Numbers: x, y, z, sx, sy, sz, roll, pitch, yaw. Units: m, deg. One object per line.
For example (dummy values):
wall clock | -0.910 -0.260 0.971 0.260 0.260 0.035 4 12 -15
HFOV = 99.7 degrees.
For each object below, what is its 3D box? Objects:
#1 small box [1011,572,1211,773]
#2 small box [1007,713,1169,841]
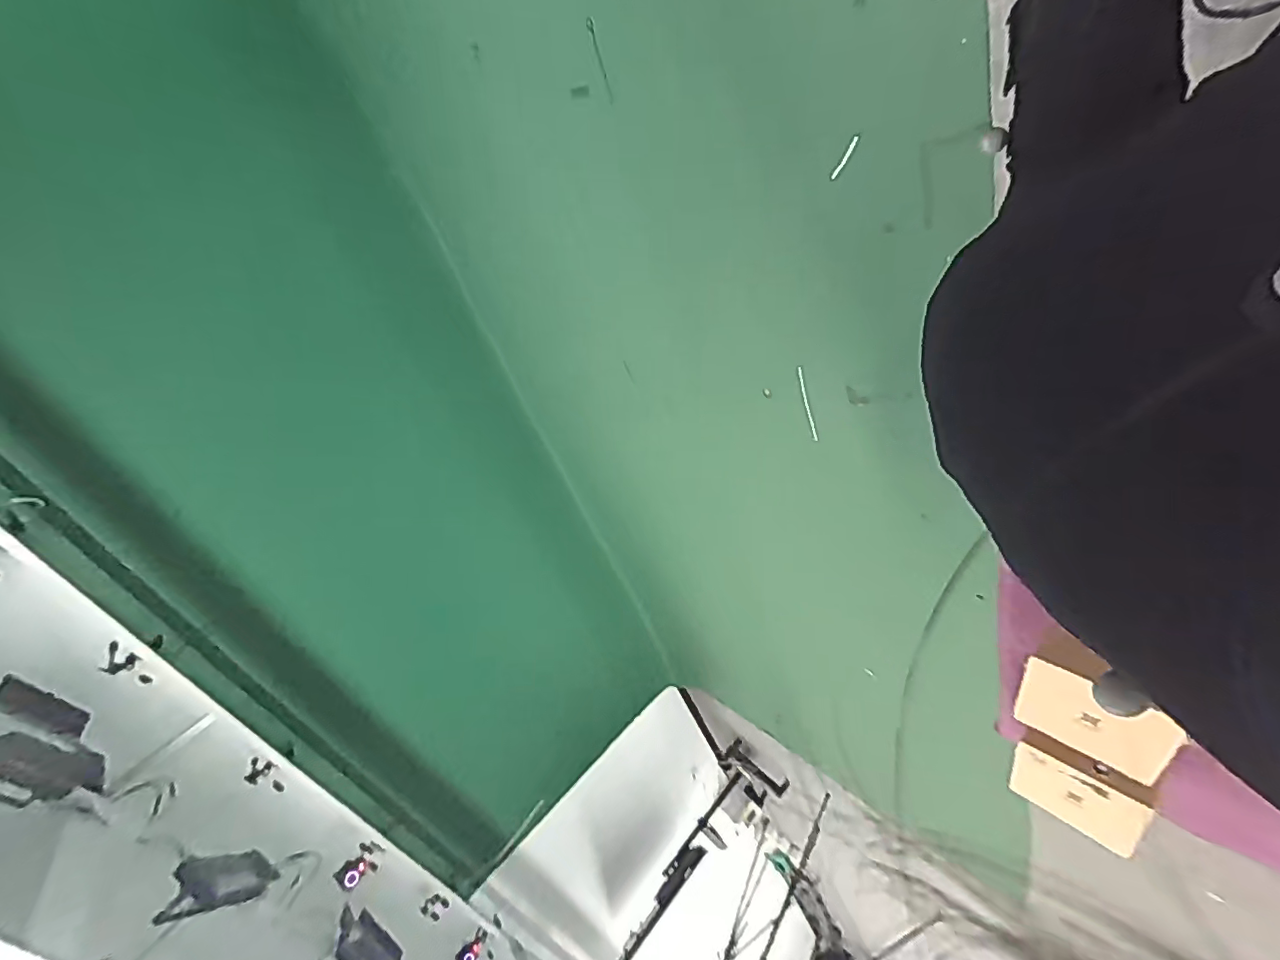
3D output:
small box | 0.670 0.268 0.779 0.168 0.176 0.179 23 144 41
small box | 0.743 0.442 0.900 0.168 0.176 0.179 22 144 44
